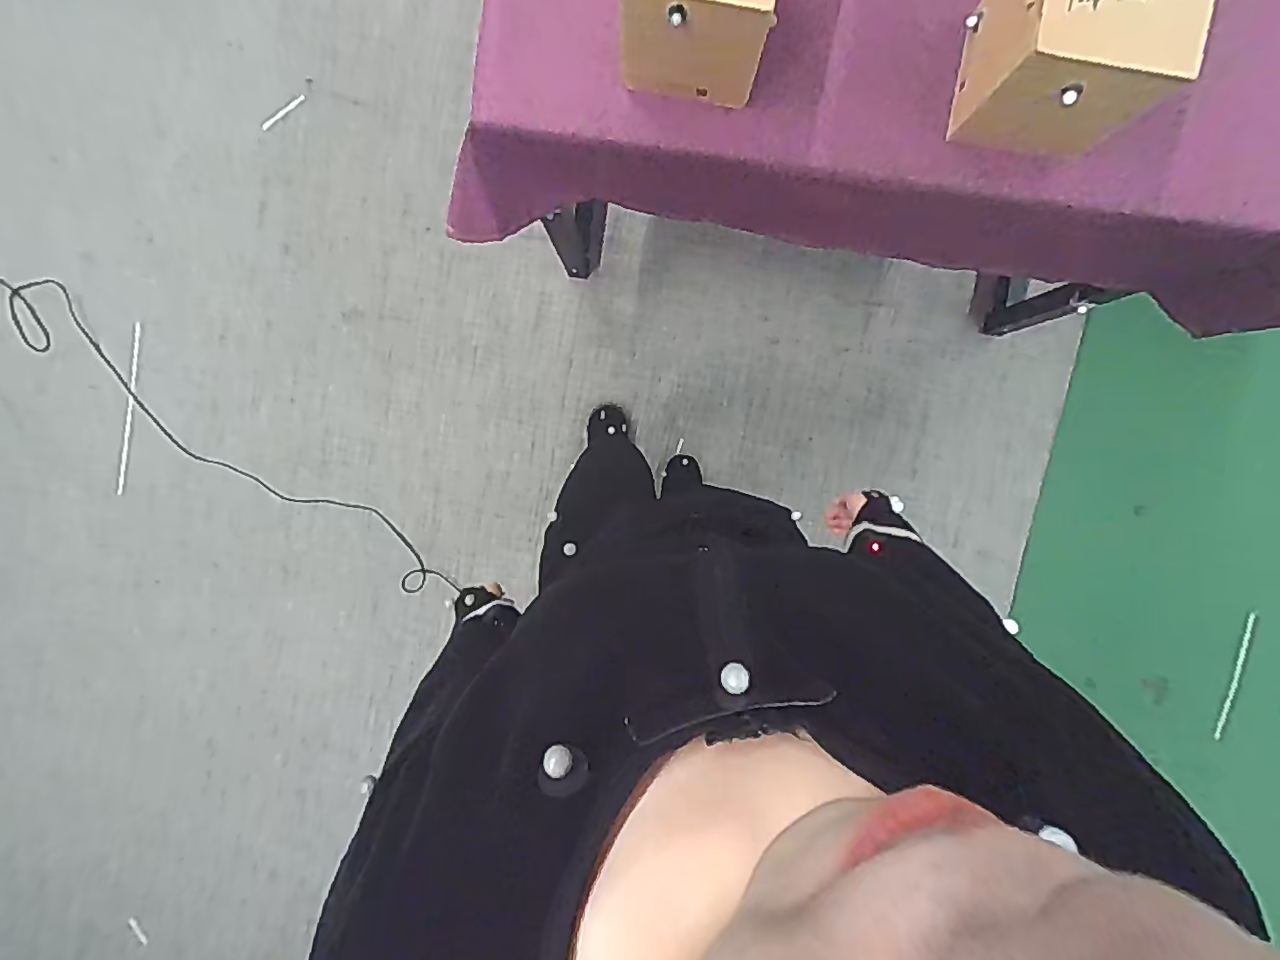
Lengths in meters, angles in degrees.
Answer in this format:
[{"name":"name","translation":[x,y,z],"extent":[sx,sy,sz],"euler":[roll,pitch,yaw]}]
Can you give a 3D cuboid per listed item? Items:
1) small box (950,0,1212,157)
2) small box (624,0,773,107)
[{"name":"small box","translation":[0.503,-0.513,0.635],"extent":[0.179,0.176,0.168],"euler":[10,94,0]},{"name":"small box","translation":[0.074,-0.591,0.636],"extent":[0.168,0.176,0.179],"euler":[11,94,1]}]
